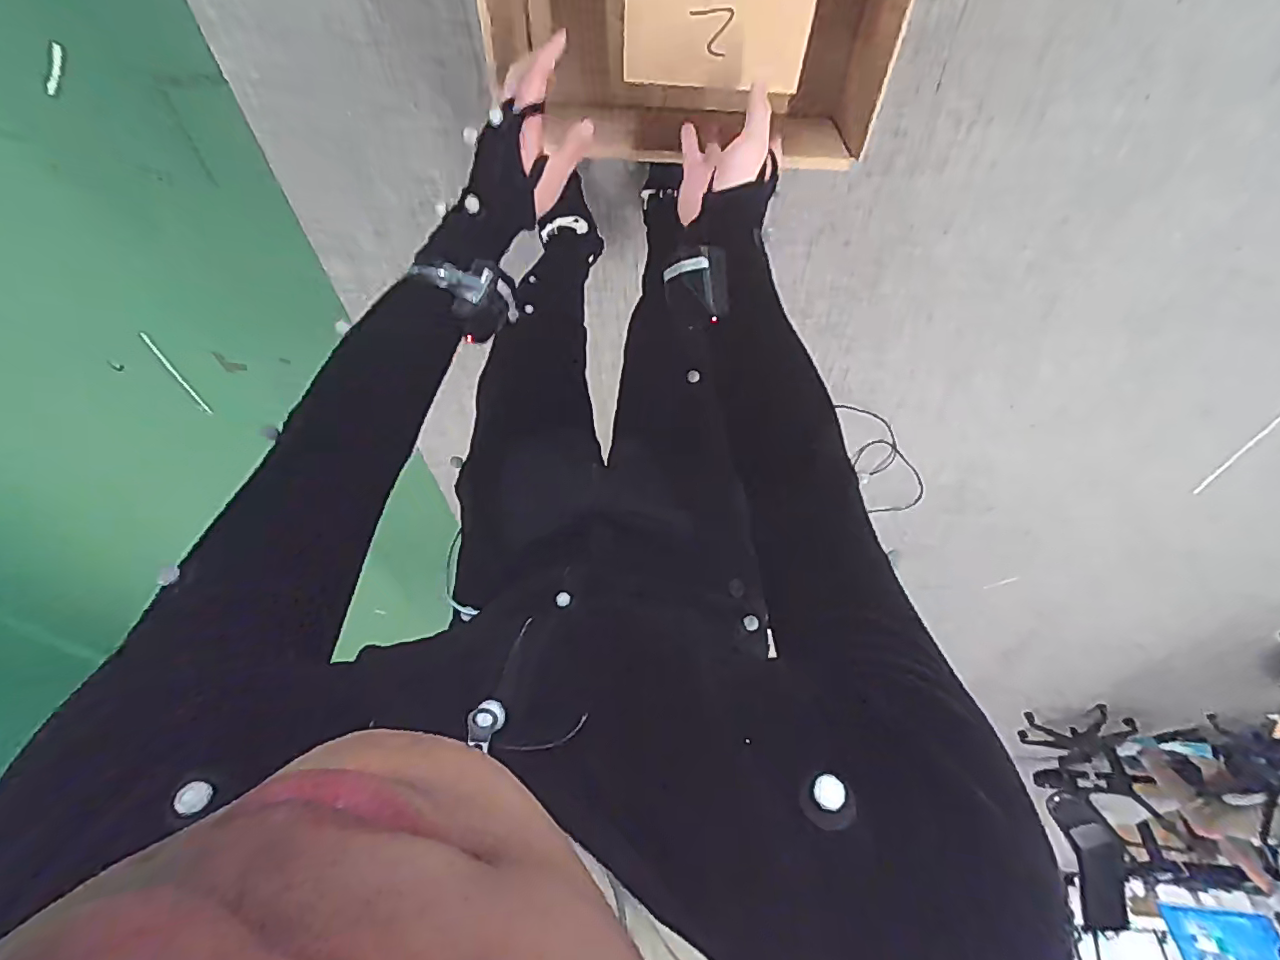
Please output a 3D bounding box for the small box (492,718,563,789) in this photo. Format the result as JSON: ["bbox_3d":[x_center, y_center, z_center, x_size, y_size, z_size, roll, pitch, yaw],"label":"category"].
[{"bbox_3d":[-0.352,0.868,1.720,0.179,0.176,0.168,3,143,2],"label":"small box"}]
